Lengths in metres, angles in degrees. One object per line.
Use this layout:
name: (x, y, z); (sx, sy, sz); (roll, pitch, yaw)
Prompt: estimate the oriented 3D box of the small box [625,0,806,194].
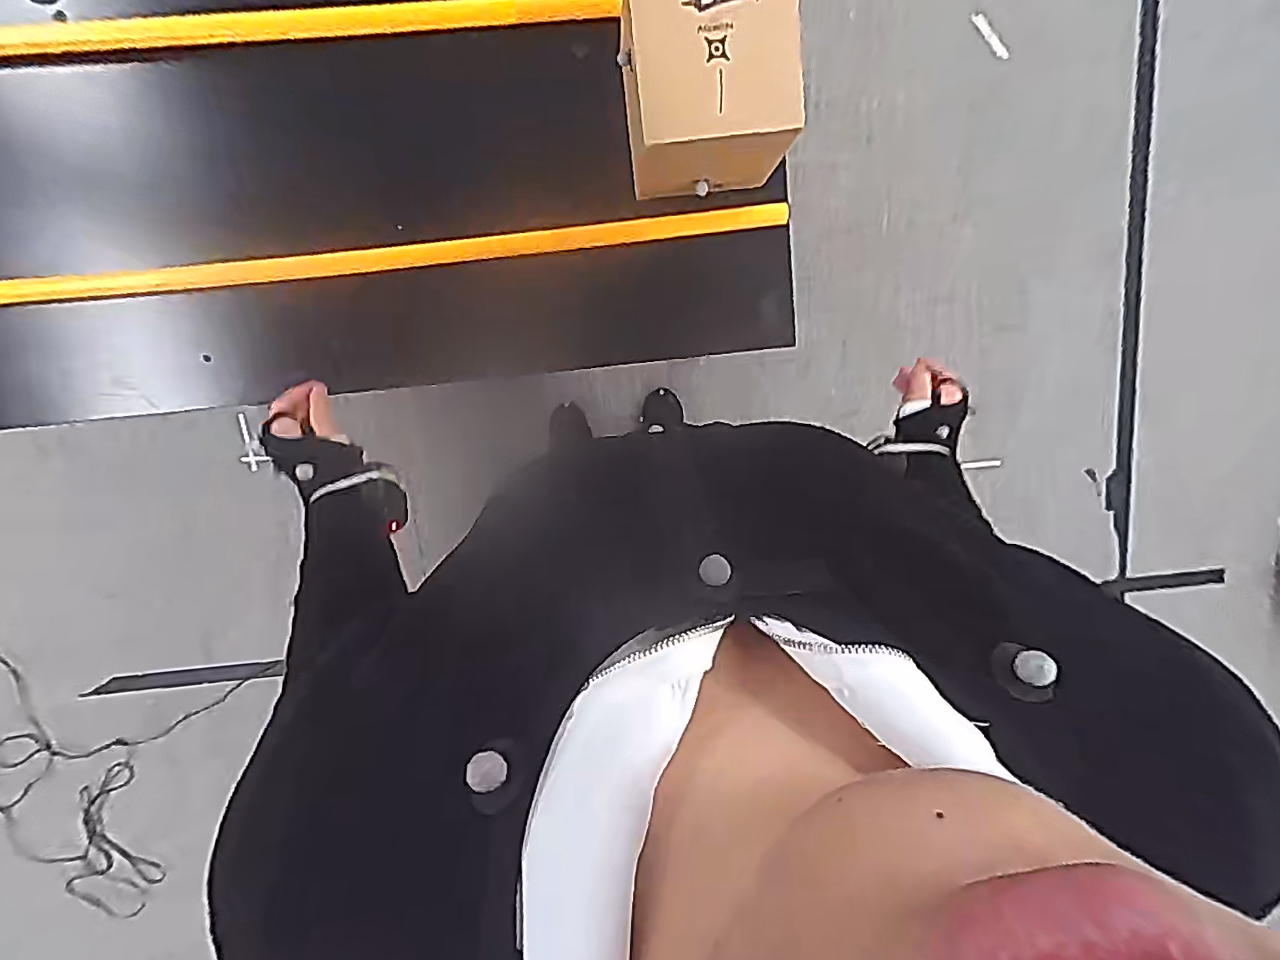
small box: (0.074, -0.448, 0.606); (0.168, 0.176, 0.179); (-7, 101, -1)
